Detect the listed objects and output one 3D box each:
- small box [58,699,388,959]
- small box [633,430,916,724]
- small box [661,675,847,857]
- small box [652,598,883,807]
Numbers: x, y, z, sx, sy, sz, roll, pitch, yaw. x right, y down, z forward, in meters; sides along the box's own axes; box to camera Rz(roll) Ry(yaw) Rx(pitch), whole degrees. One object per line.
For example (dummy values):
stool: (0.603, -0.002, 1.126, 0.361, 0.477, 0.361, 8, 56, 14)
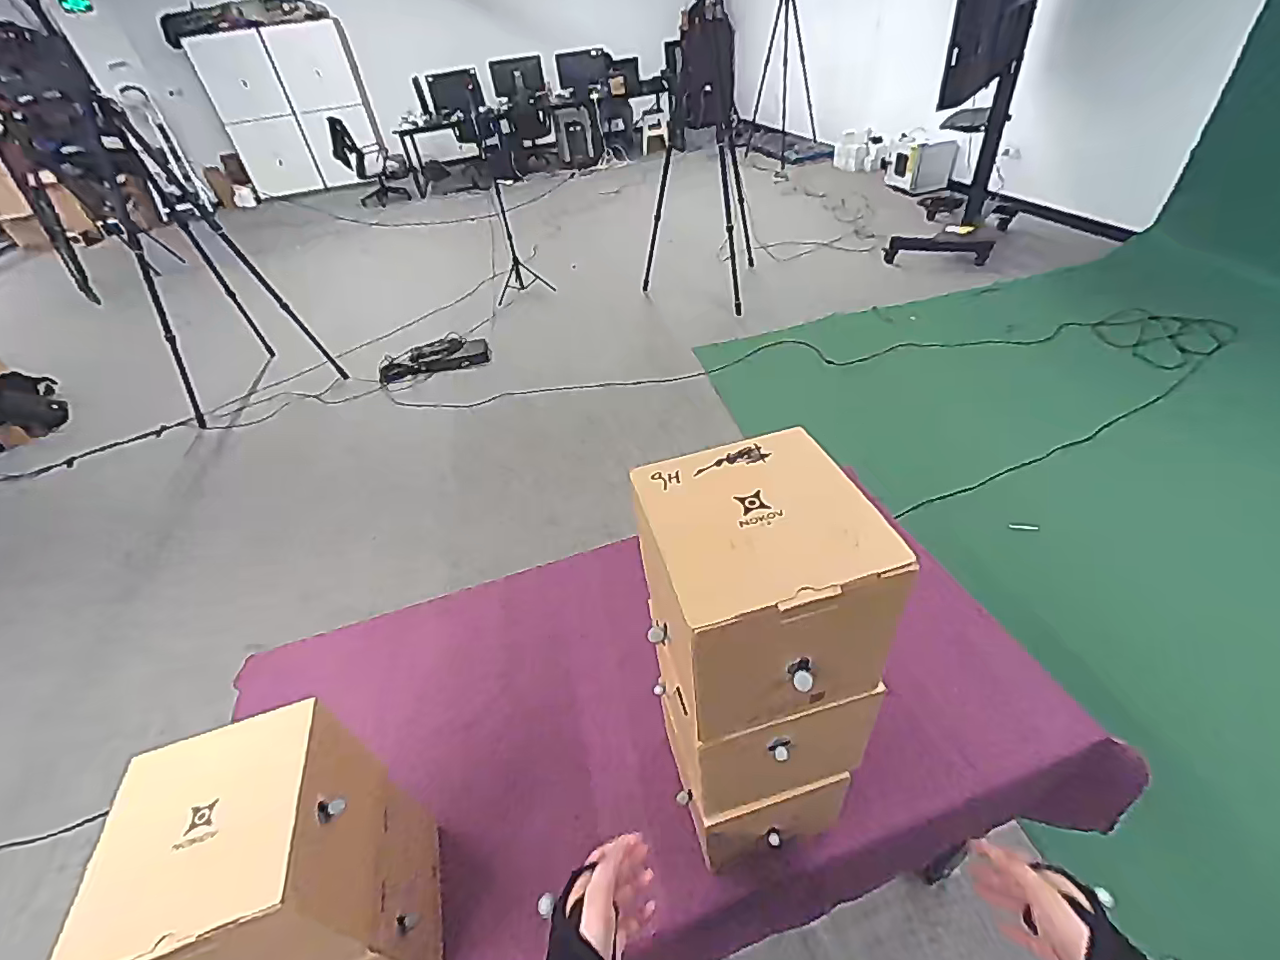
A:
small box: (-0.353, 0.346, 0.505, 0.168, 0.176, 0.179, -16, 42, -9)
small box: (0.100, 0.088, 0.472, 0.168, 0.176, 0.179, -14, 42, -7)
small box: (0.133, 0.342, 0.678, 0.168, 0.176, 0.179, -14, 41, -7)
small box: (0.123, 0.215, 0.574, 0.179, 0.176, 0.168, -13, 41, -7)
